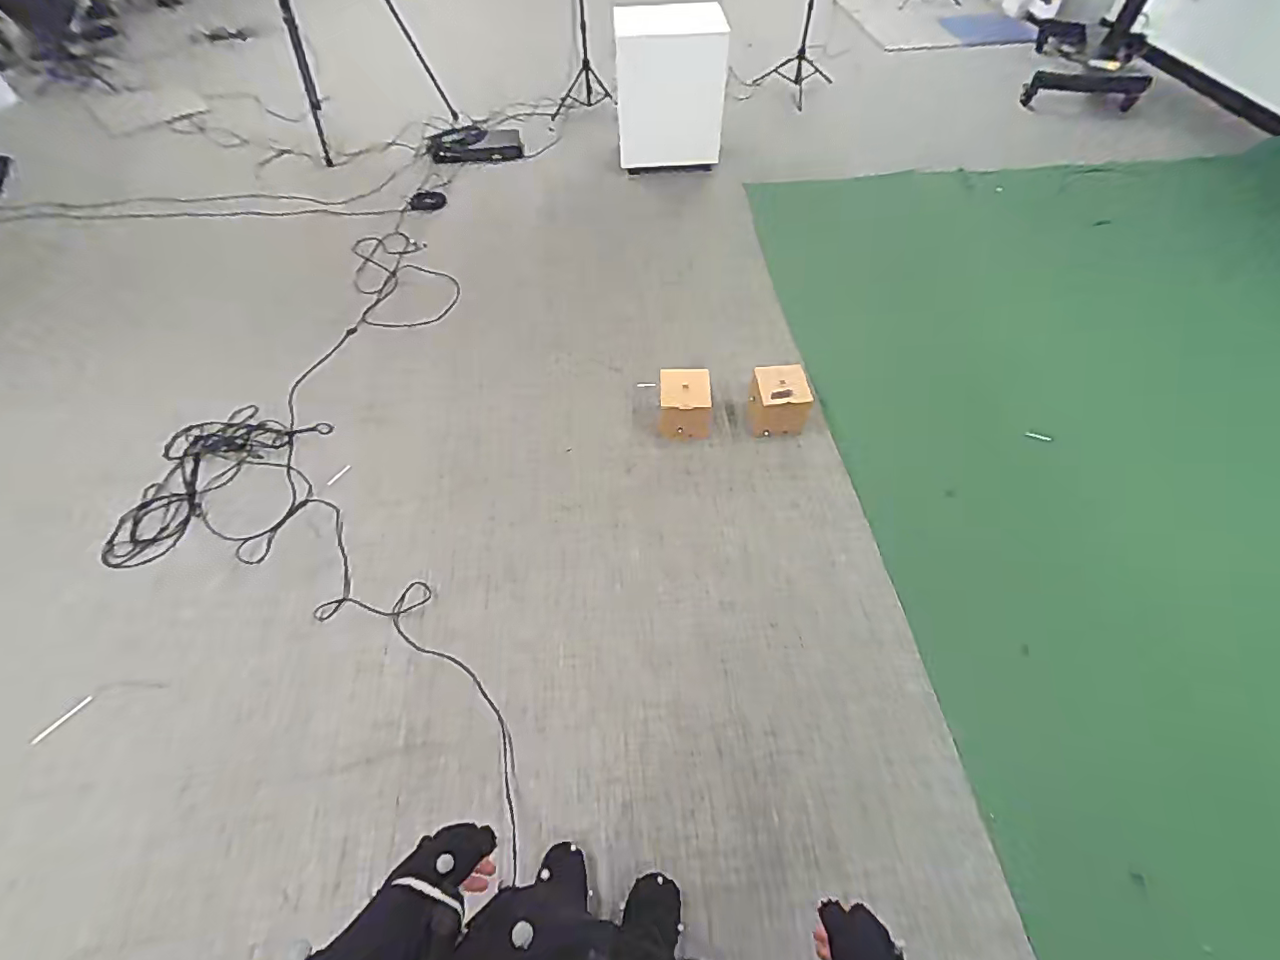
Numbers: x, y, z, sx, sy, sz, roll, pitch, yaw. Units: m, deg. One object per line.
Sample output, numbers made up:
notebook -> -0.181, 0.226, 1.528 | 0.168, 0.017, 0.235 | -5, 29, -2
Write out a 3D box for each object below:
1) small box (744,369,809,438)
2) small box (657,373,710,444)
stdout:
small box -> 0.461, -0.256, 1.849 | 0.168, 0.176, 0.179 | -4, 55, -2
small box -> 0.143, -0.245, 1.843 | 0.168, 0.176, 0.179 | 0, 56, 0
